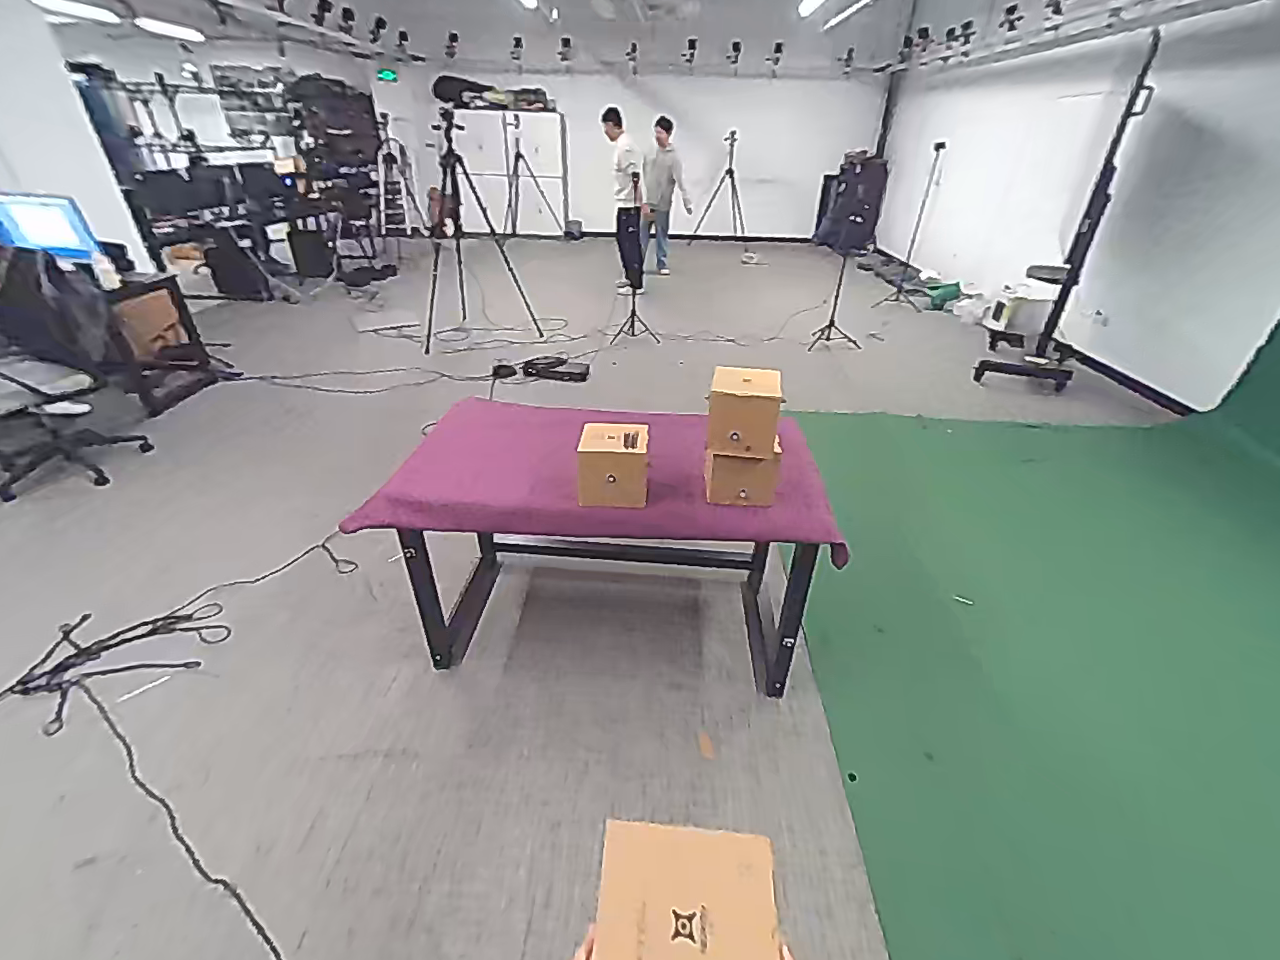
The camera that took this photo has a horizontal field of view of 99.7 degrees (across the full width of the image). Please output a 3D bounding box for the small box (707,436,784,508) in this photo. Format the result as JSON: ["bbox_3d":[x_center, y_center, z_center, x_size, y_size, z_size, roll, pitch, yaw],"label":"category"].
[{"bbox_3d":[0.278,-0.038,1.464,0.179,0.176,0.168,2,30,3],"label":"small box"}]

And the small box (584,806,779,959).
[{"bbox_3d":[0.038,0.465,0.559,0.179,0.176,0.168,4,41,4],"label":"small box"}]

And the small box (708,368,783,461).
[{"bbox_3d":[0.265,-0.168,1.364,0.168,0.176,0.179,6,32,10],"label":"small box"}]
